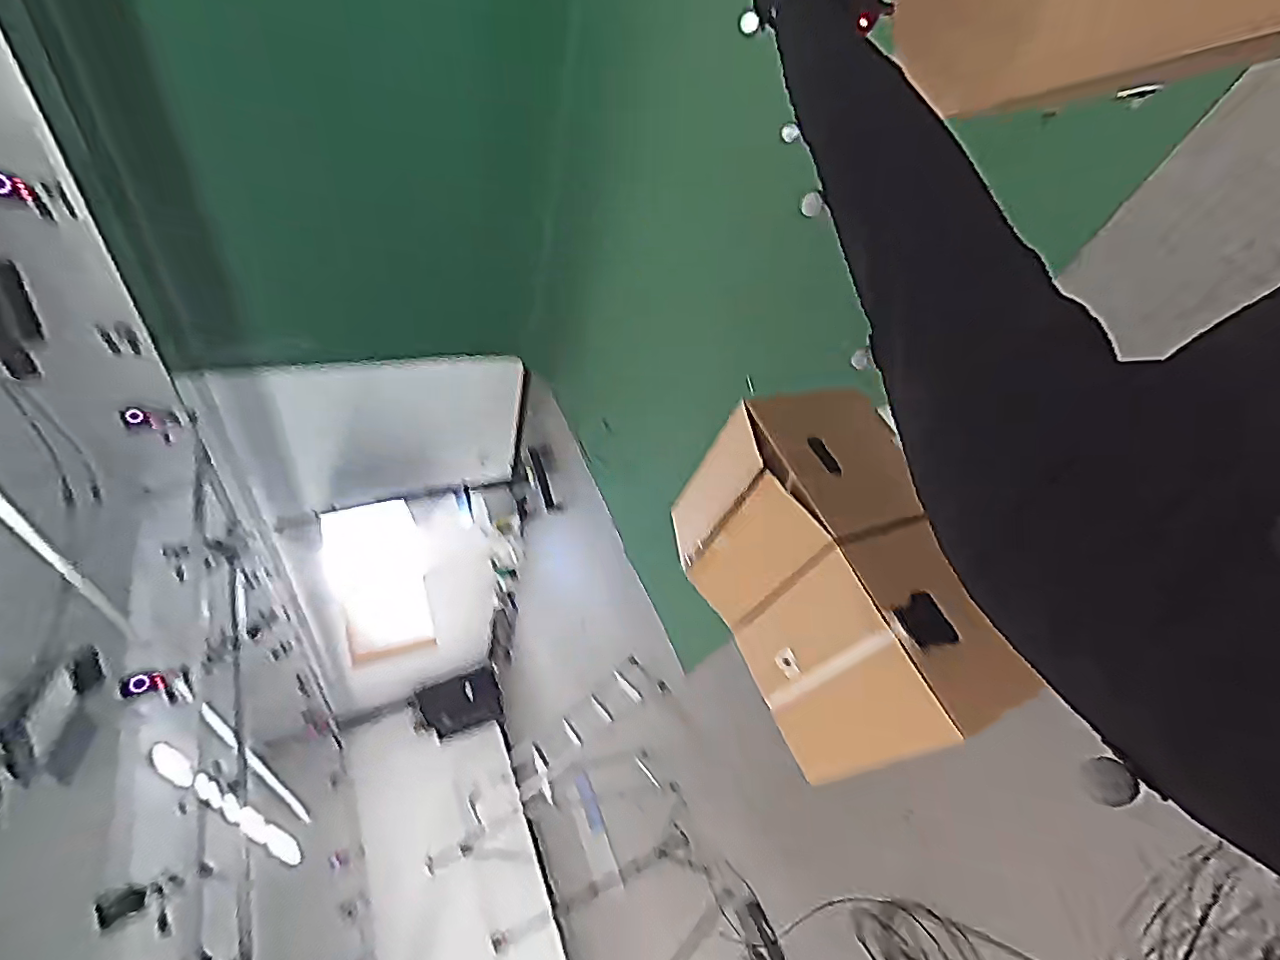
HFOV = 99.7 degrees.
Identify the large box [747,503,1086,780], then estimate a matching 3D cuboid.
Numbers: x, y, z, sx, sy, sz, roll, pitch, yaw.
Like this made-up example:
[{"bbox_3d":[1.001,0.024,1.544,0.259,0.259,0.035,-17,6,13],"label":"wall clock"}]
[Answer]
[{"bbox_3d":[0.469,0.300,1.002,0.320,0.320,0.408,64,151,29],"label":"large box"}]
